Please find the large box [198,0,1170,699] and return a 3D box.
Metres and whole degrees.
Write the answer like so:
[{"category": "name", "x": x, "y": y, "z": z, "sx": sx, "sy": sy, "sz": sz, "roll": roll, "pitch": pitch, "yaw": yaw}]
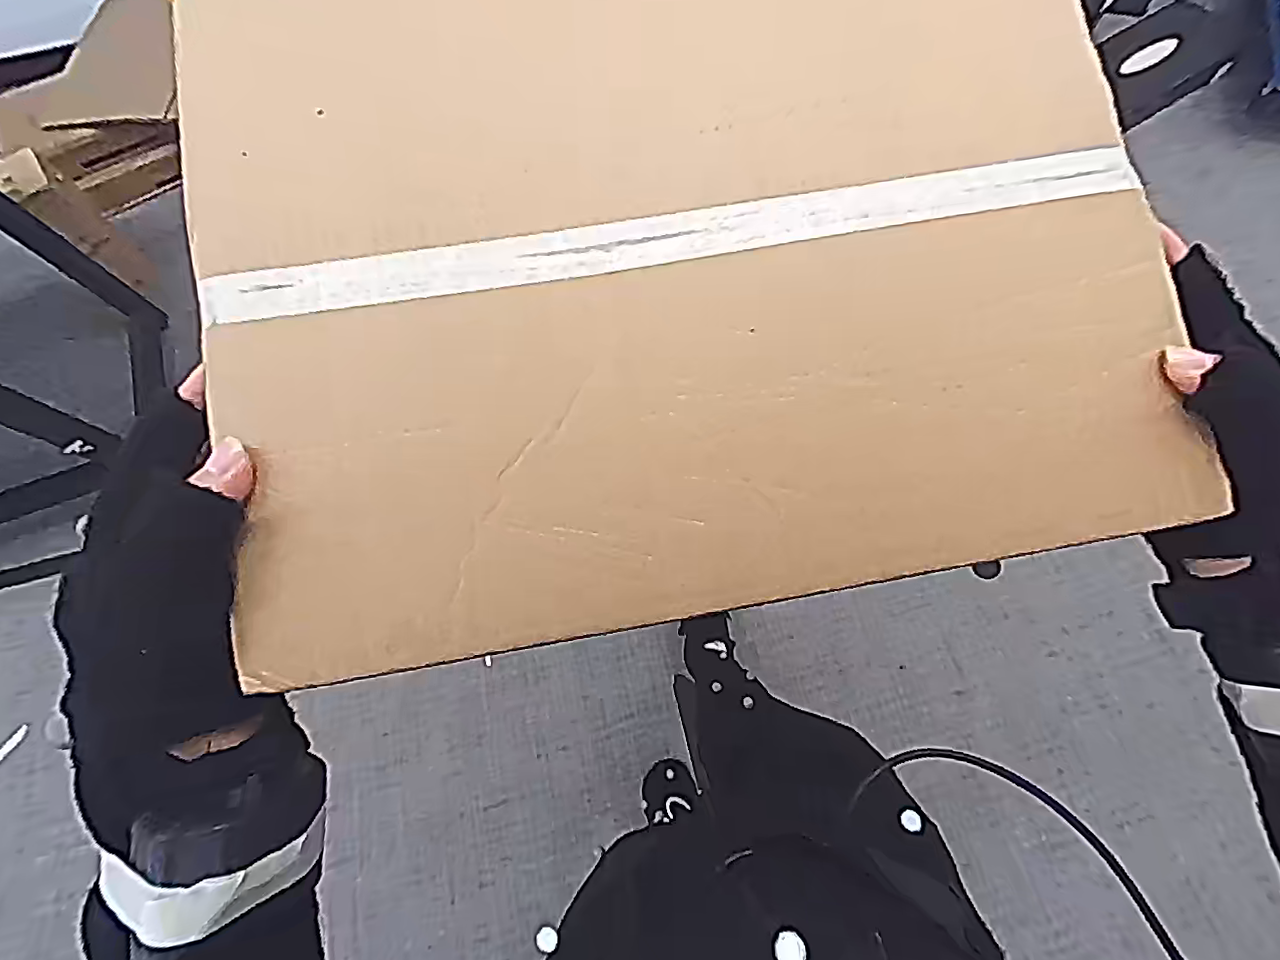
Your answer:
[{"category": "large box", "x": 0.014, "y": -0.080, "z": 0.393, "sx": 0.408, "sy": 0.320, "sz": 0.320, "roll": -10, "pitch": 83, "yaw": -3}]
